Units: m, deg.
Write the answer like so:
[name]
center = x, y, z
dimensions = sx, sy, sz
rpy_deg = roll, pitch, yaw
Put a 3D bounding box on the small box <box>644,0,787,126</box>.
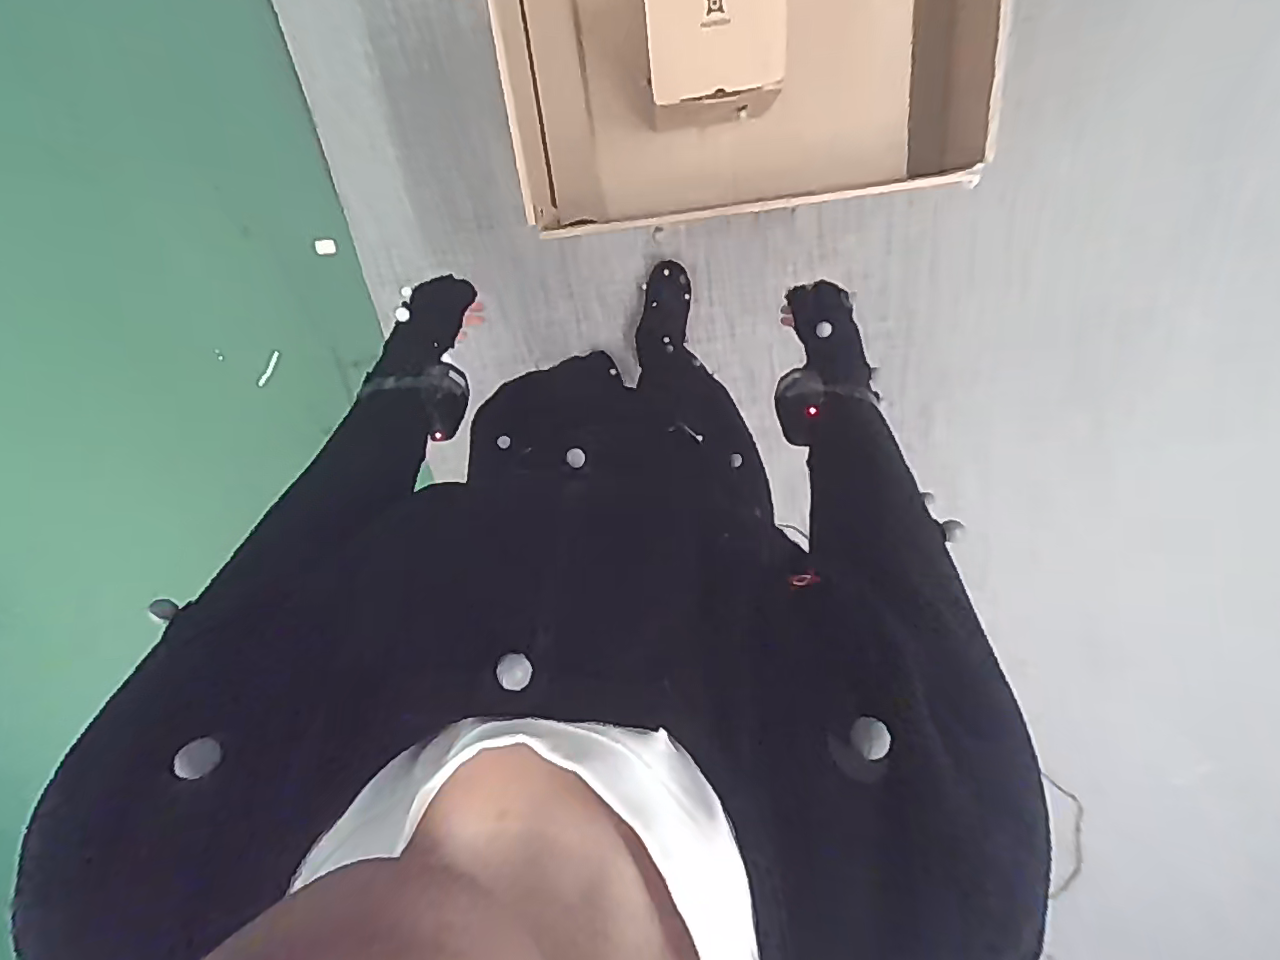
[small box]
center = 0.093, -0.584, 0.707
dimensions = 0.168, 0.176, 0.179
rpy_deg = -6, 111, 4
